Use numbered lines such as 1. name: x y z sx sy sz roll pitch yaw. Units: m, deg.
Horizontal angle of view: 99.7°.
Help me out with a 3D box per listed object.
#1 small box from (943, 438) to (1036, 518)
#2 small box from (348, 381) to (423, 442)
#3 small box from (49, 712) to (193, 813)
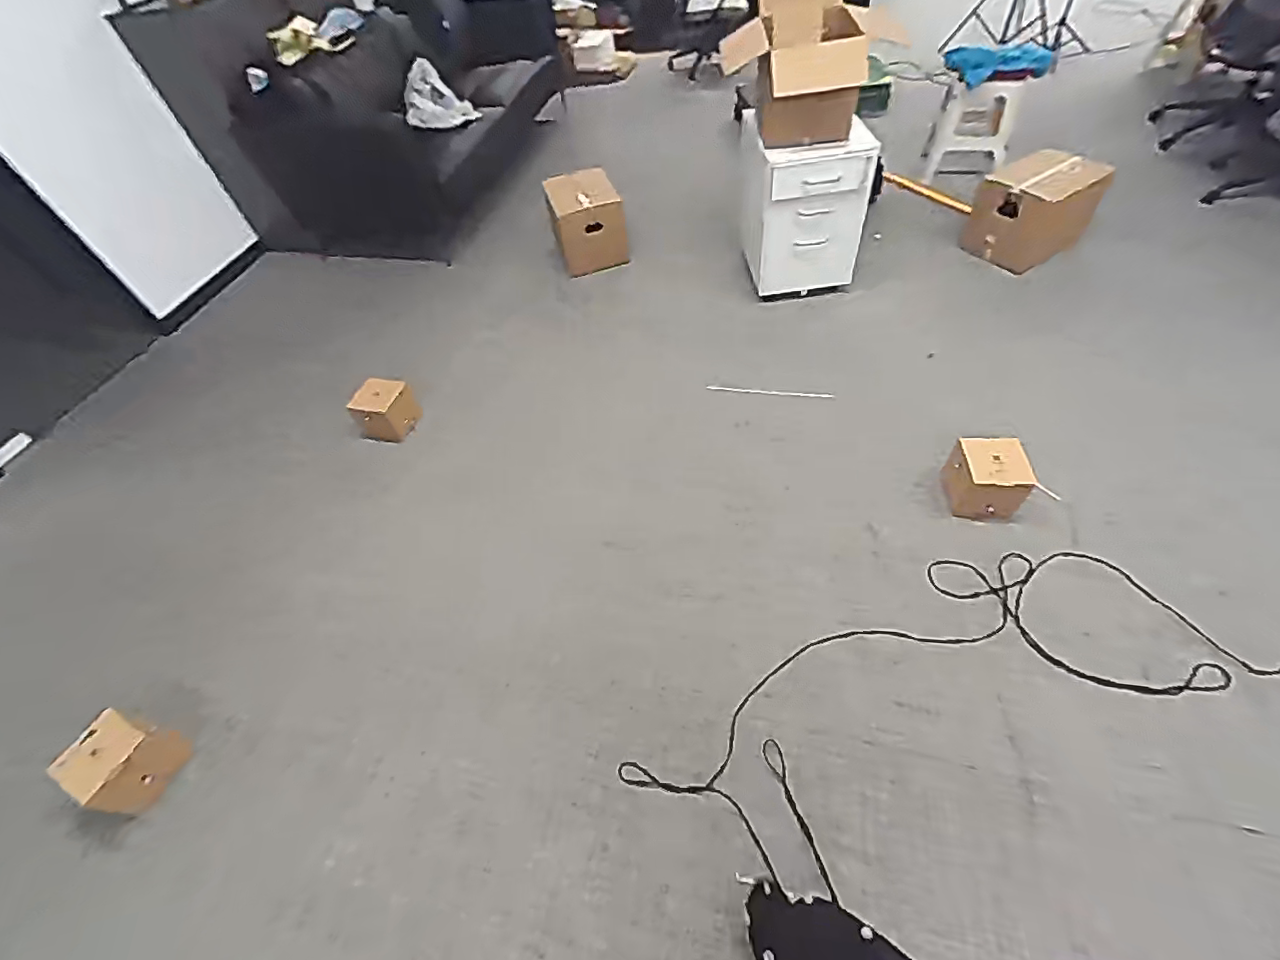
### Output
1. small box: 1.037 -0.007 1.623 0.168 0.176 0.179 1 53 8
2. small box: -0.995 -0.267 2.129 0.179 0.176 0.168 9 55 13
3. small box: -1.318 0.729 1.387 0.179 0.176 0.168 18 57 20
